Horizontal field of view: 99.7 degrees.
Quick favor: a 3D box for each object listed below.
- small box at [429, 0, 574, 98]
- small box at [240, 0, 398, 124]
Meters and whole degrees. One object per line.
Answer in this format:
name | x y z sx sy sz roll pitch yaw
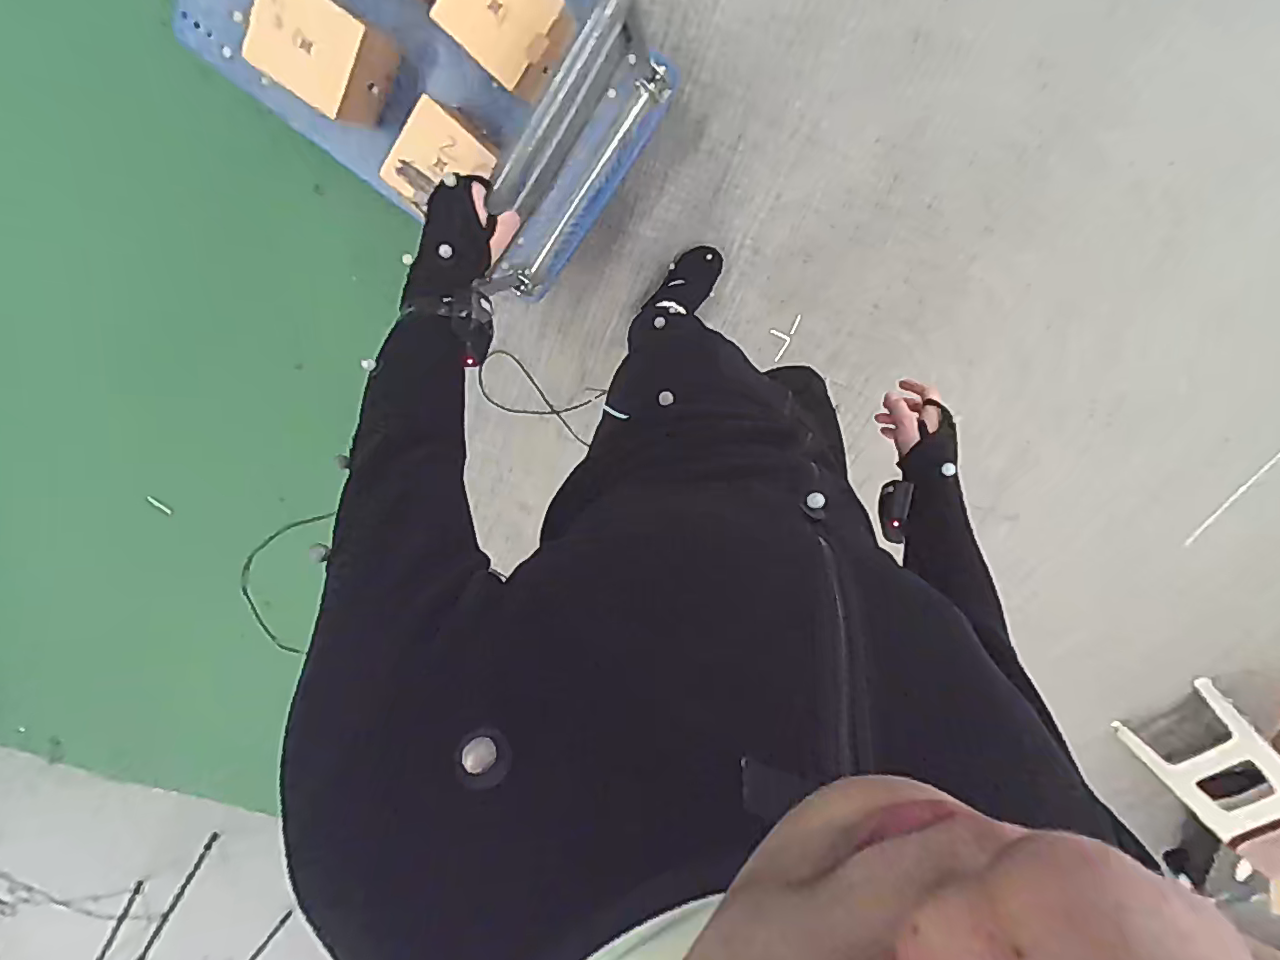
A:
small box | -0.241 -0.837 0.983 0.179 0.176 0.168 36 114 -17
small box | -0.588 -0.802 1.012 0.179 0.176 0.168 31 114 -14
